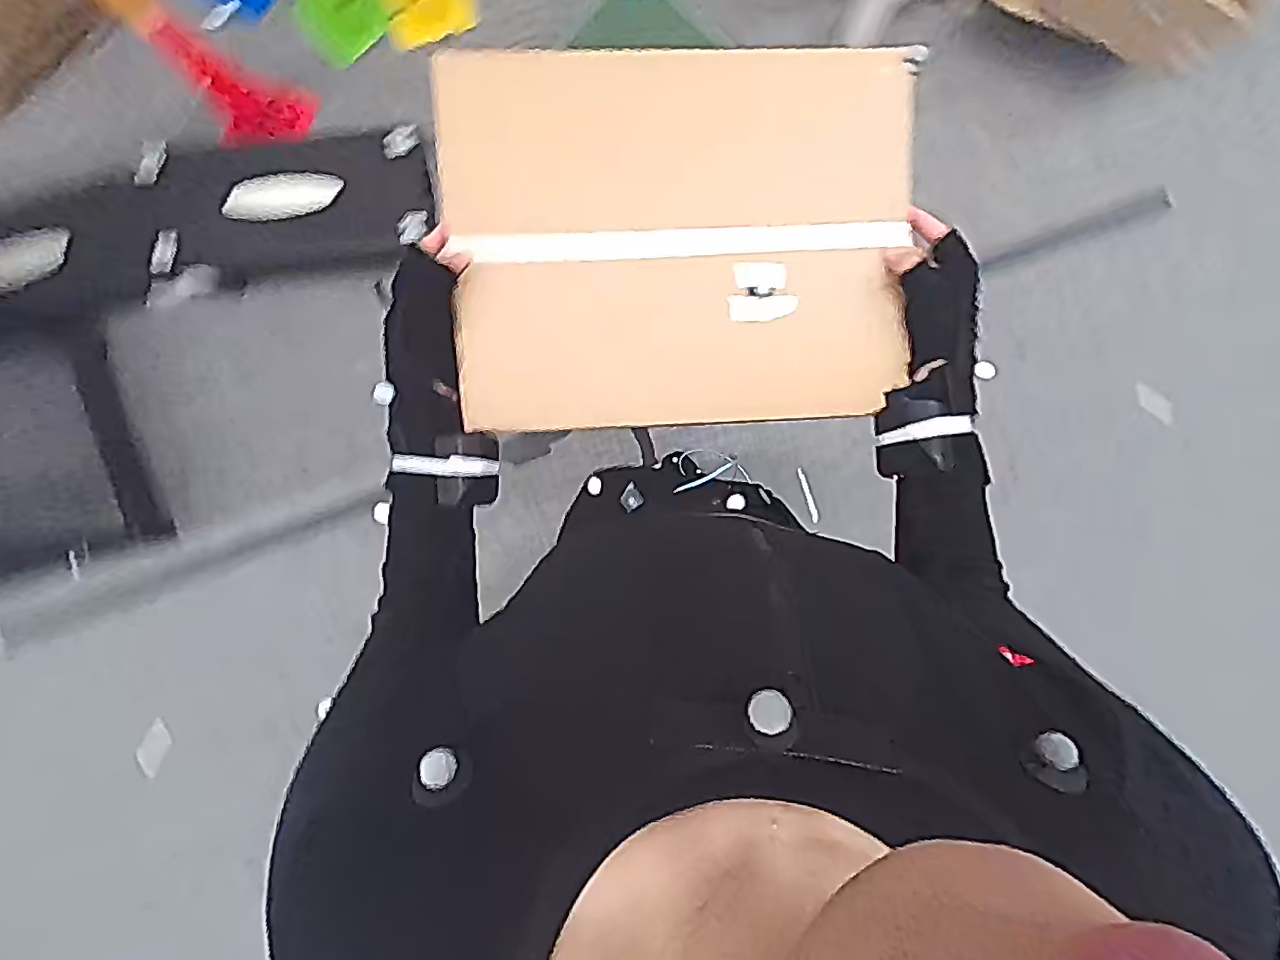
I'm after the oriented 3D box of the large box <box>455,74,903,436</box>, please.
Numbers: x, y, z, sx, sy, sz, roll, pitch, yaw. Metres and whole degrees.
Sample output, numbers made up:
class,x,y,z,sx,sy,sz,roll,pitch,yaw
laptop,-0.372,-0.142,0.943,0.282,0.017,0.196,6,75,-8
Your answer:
class,x,y,z,sx,sy,sz,roll,pitch,yaw
large box,0.033,-0.220,0.639,0.408,0.320,0.320,-2,97,-3
